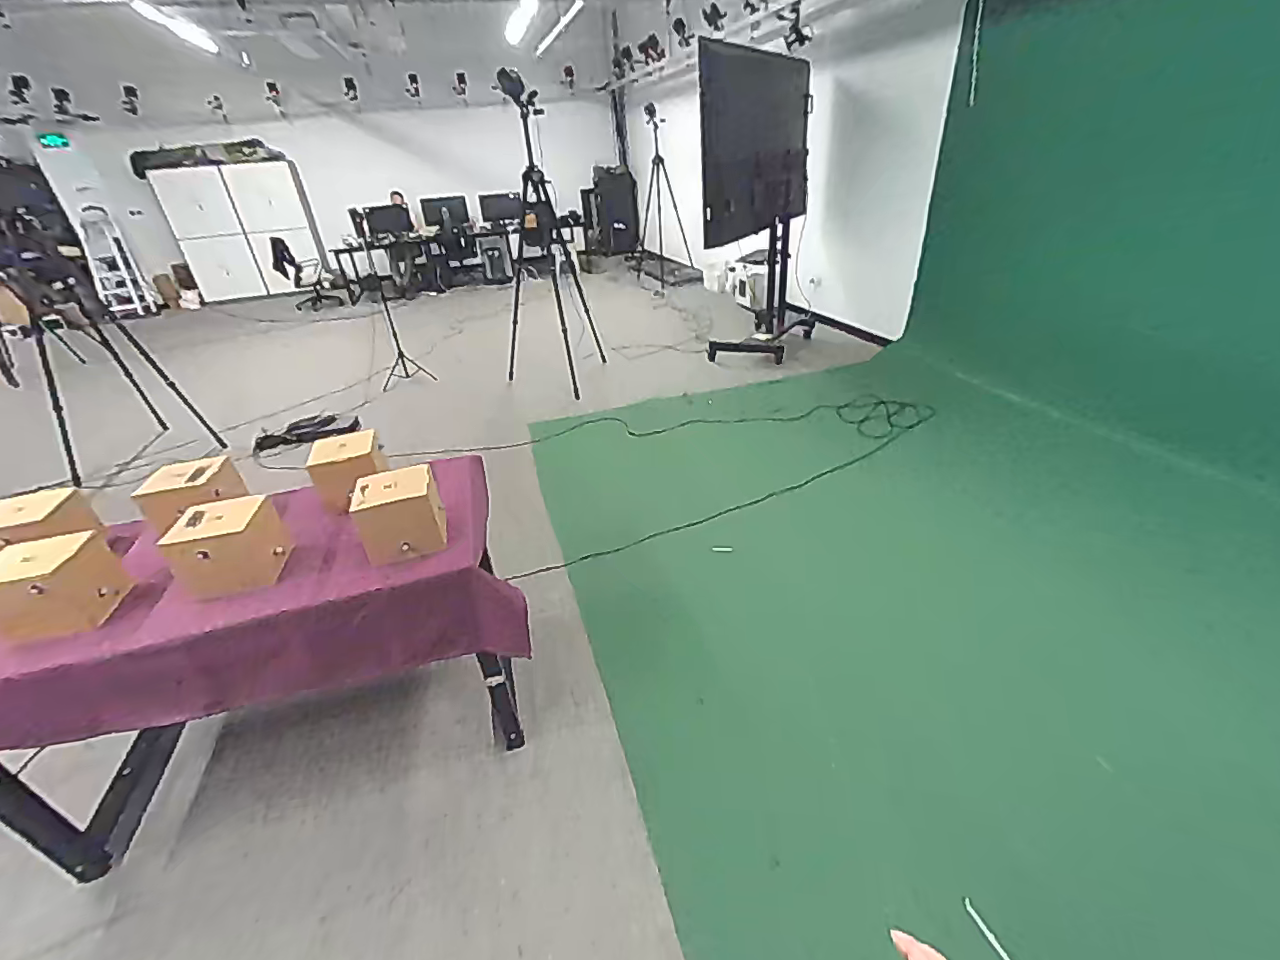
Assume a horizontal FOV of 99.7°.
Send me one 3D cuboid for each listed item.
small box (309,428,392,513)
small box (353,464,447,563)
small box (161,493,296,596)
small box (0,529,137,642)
[{"bbox_3d":[-0.832,-0.029,1.577,0.168,0.176,0.179,-14,32,-14],"label":"small box"},{"bbox_3d":[-0.591,0.083,1.356,0.179,0.176,0.168,-13,31,-13],"label":"small box"},{"bbox_3d":[-0.970,0.155,1.293,0.179,0.176,0.168,-10,31,-10],"label":"small box"},{"bbox_3d":[-1.302,0.236,1.208,0.179,0.176,0.168,-11,31,-11],"label":"small box"}]
